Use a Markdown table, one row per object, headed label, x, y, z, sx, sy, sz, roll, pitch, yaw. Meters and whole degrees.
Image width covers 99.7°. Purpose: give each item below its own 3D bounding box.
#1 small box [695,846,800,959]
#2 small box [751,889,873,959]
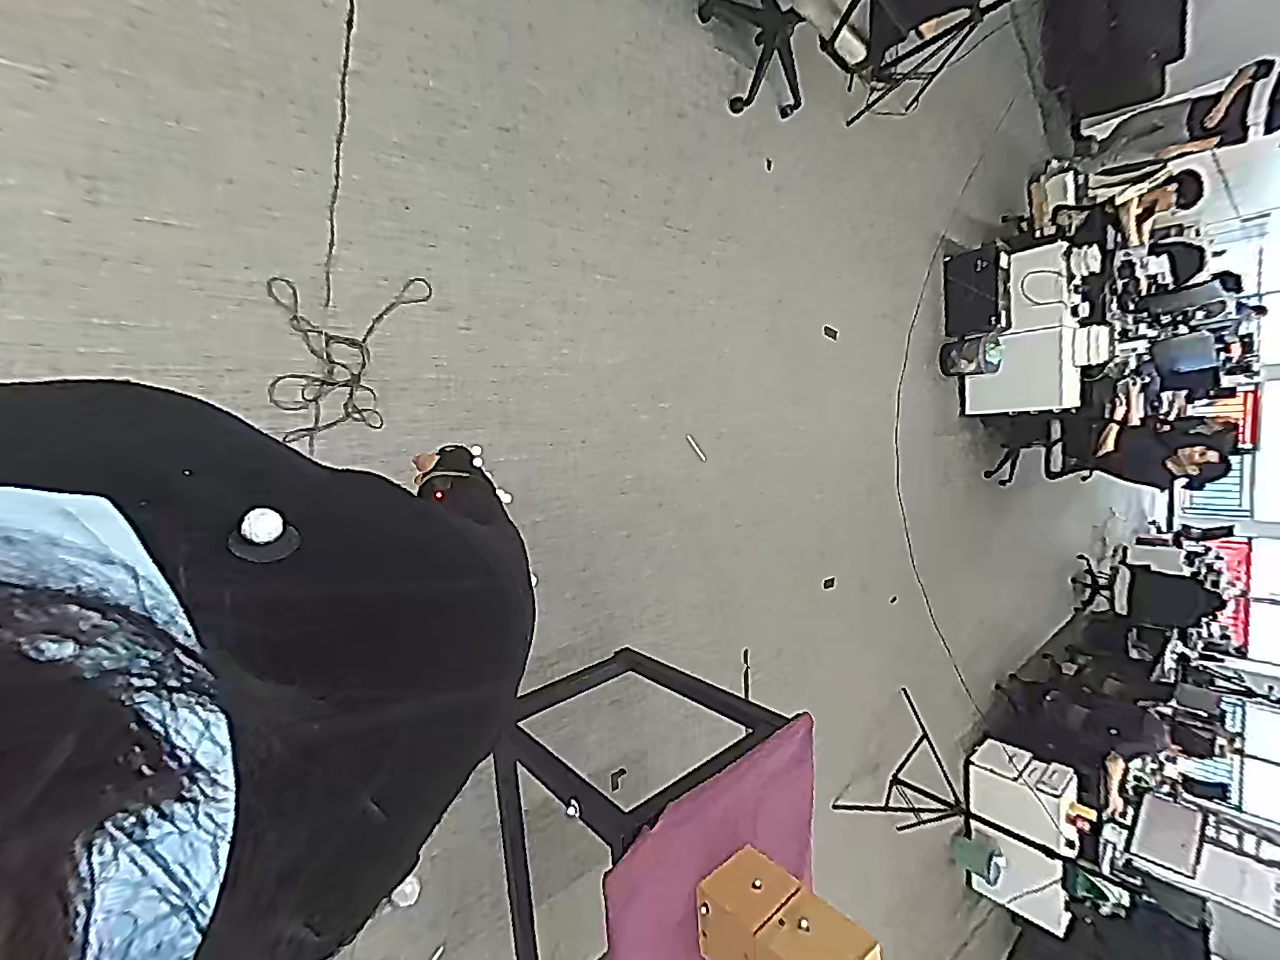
| label | x | y | z | sx | sy | sz | roll | pitch | yaw |
| --- | --- | --- | --- | --- | --- | --- | --- | --- | --- |
| small box | 0.232 | 0.955 | 1.179 | 0.179 | 0.176 | 0.168 | -8 | 97 | -40 |
| small box | 0.330 | 0.959 | 1.046 | 0.168 | 0.176 | 0.179 | -9 | 98 | -39 |
